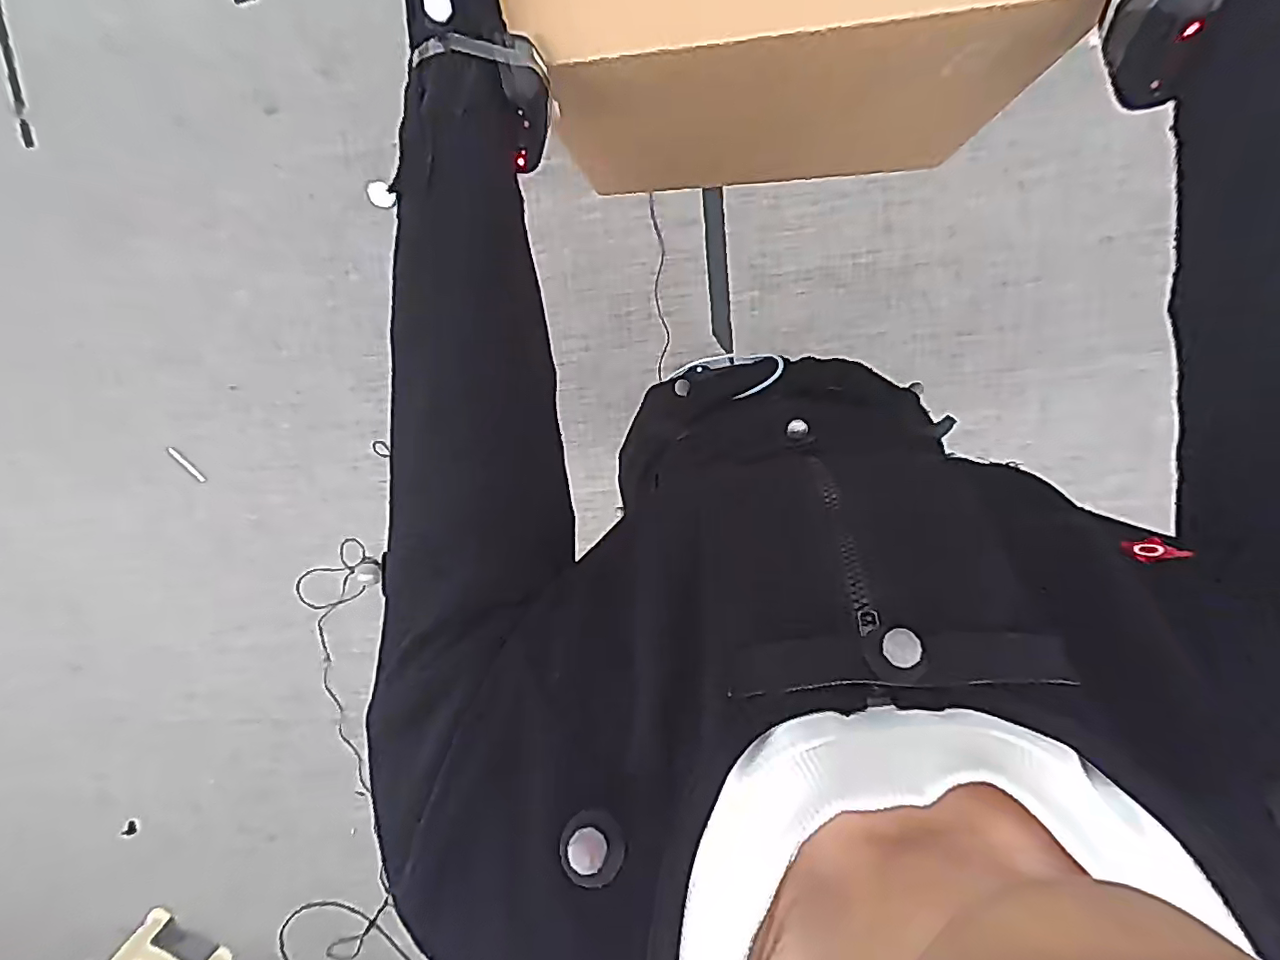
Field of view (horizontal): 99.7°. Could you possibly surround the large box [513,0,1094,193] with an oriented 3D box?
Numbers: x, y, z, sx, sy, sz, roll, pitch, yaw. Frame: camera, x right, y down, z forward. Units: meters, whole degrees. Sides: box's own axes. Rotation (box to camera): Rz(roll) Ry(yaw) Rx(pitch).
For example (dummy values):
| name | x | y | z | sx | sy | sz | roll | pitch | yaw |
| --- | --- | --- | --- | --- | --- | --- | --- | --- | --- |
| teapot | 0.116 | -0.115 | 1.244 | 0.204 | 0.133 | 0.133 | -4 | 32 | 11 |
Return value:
| name | x | y | z | sx | sy | sz | roll | pitch | yaw |
| --- | --- | --- | --- | --- | --- | --- | --- | --- | --- |
| large box | 0.117 | -0.482 | 0.477 | 0.408 | 0.320 | 0.320 | -1 | 103 | 8 |
